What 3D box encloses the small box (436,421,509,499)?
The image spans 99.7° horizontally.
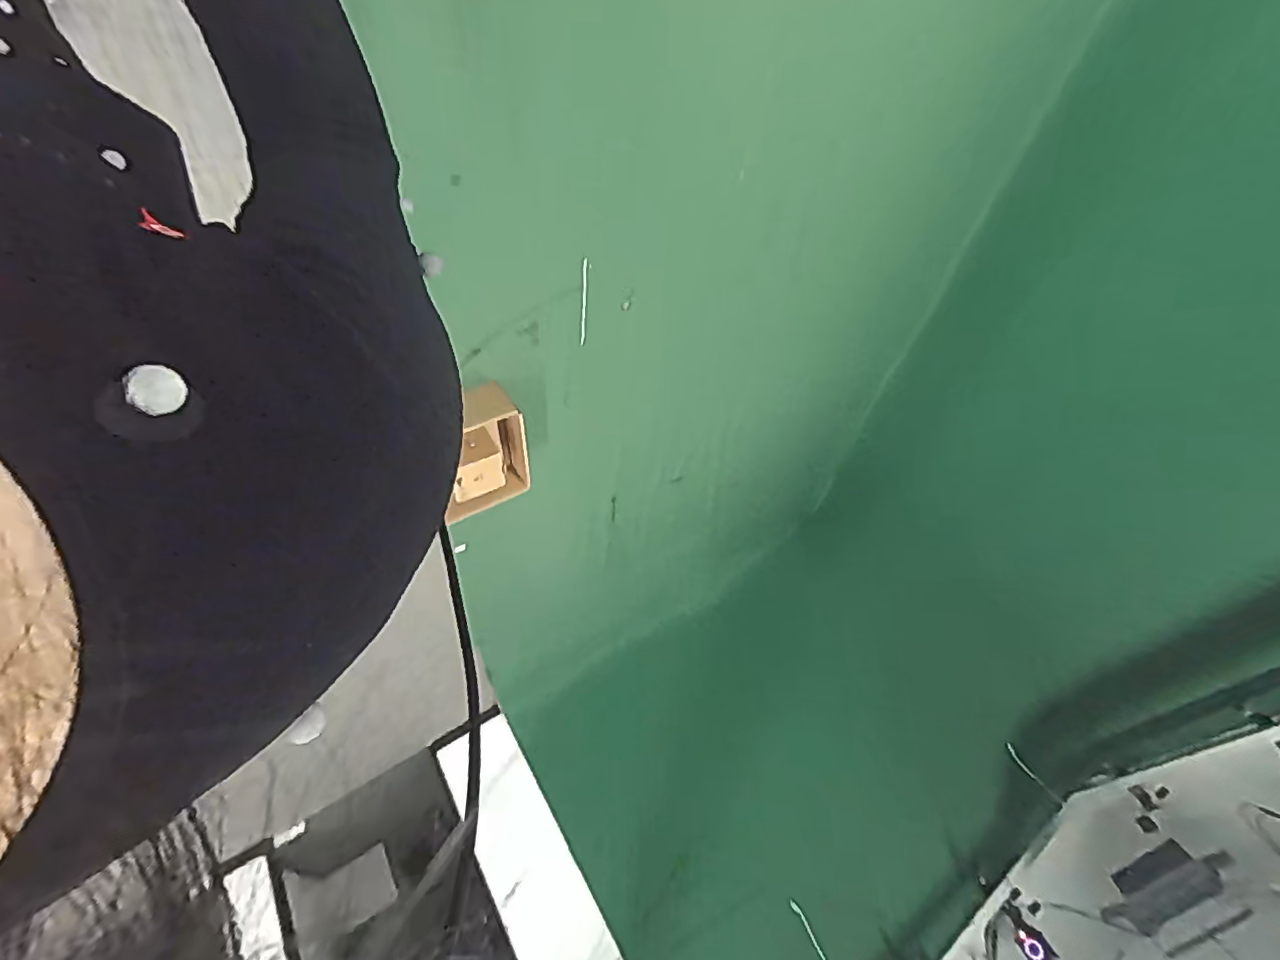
[{"bbox_3d":[-0.560,-0.074,1.813,0.179,0.176,0.168,-24,147,-24],"label":"small box"}]

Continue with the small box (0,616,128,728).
[{"bbox_3d":[-1.415,0.466,1.325,0.168,0.176,0.179,-27,147,-26],"label":"small box"}]
